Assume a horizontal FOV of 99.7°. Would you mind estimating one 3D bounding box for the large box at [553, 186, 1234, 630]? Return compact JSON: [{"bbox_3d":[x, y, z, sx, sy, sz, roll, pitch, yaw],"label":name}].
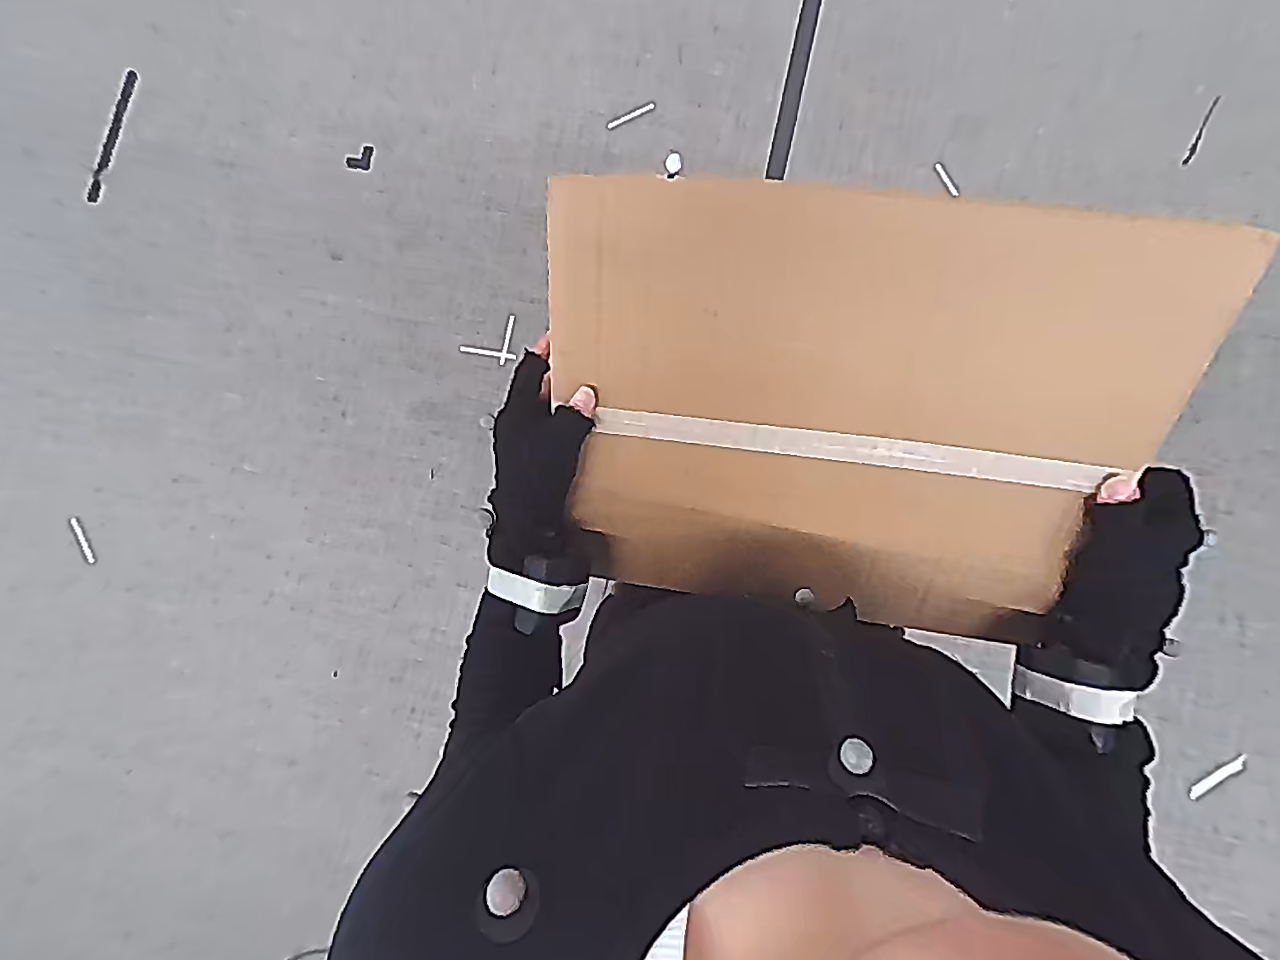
[{"bbox_3d":[0.154,-0.102,0.527,0.408,0.320,0.320,8,121,6],"label":"large box"}]
